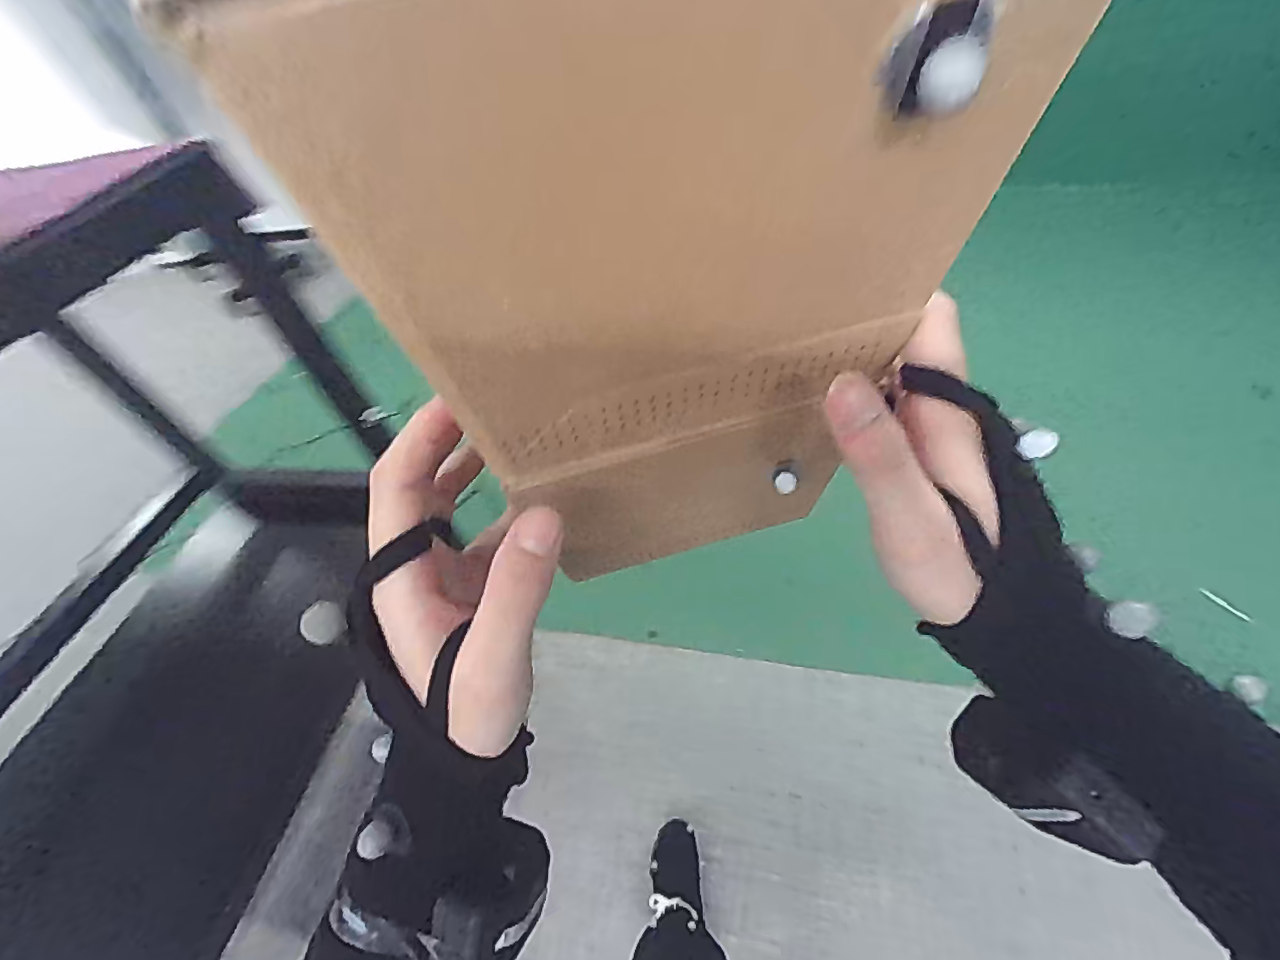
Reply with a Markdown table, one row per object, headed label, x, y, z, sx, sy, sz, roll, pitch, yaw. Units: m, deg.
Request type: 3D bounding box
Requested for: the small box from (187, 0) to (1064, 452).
| label | x | y | z | sx | sy | sz | roll | pitch | yaw |
| --- | --- | --- | --- | --- | --- | --- | --- | --- | --- |
| small box | 0.002 | -0.129 | 0.189 | 0.179 | 0.176 | 0.168 | -14 | 65 | -2 |
